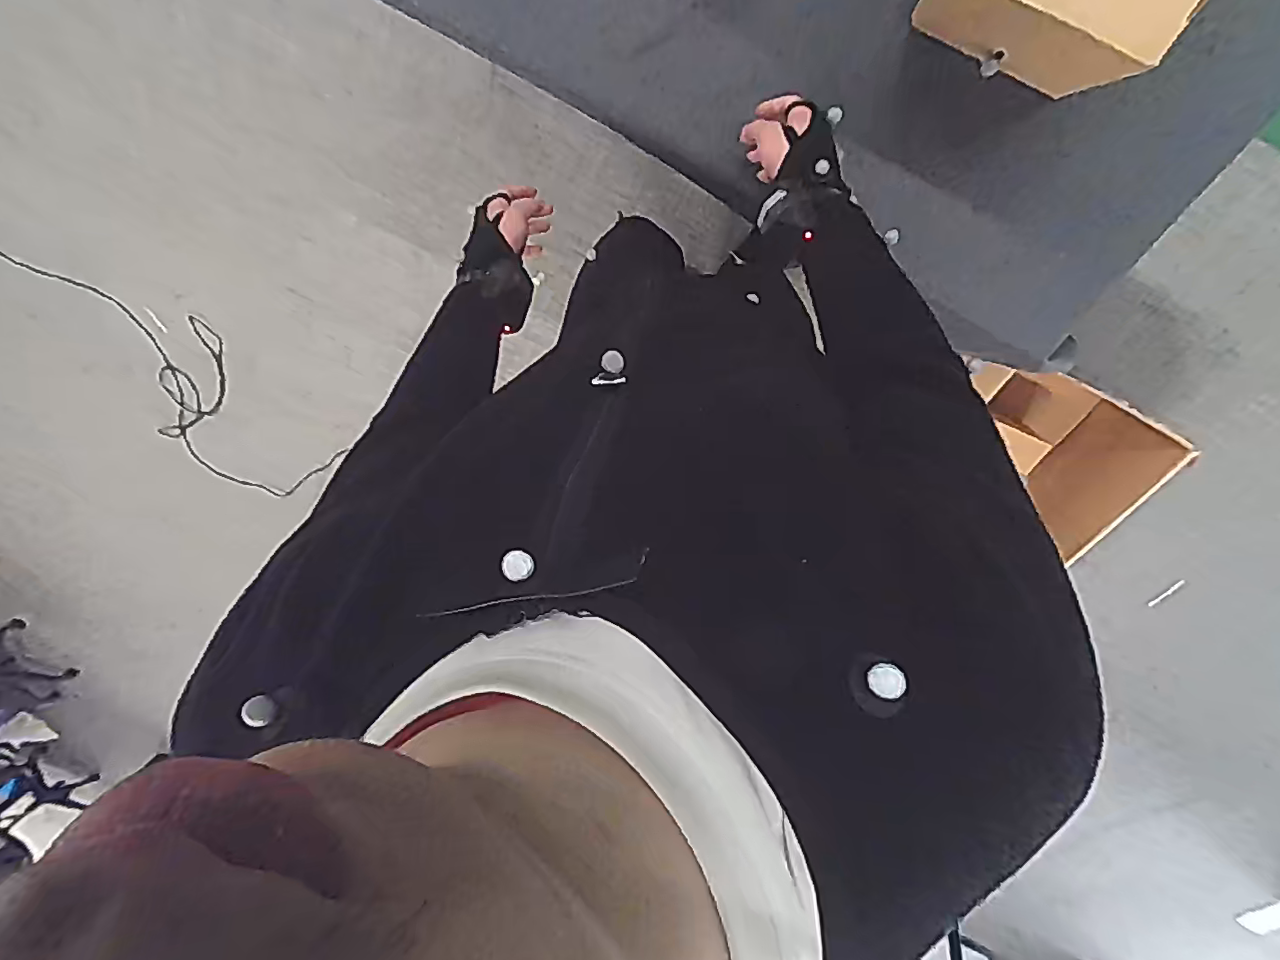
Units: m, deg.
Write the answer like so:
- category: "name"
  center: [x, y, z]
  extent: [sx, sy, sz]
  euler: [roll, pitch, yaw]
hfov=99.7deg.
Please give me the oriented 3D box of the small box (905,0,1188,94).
- category: "small box"
  center: [0.368, -0.463, 0.469]
  extent: [0.179, 0.176, 0.168]
  euler: [23, 122, 0]
